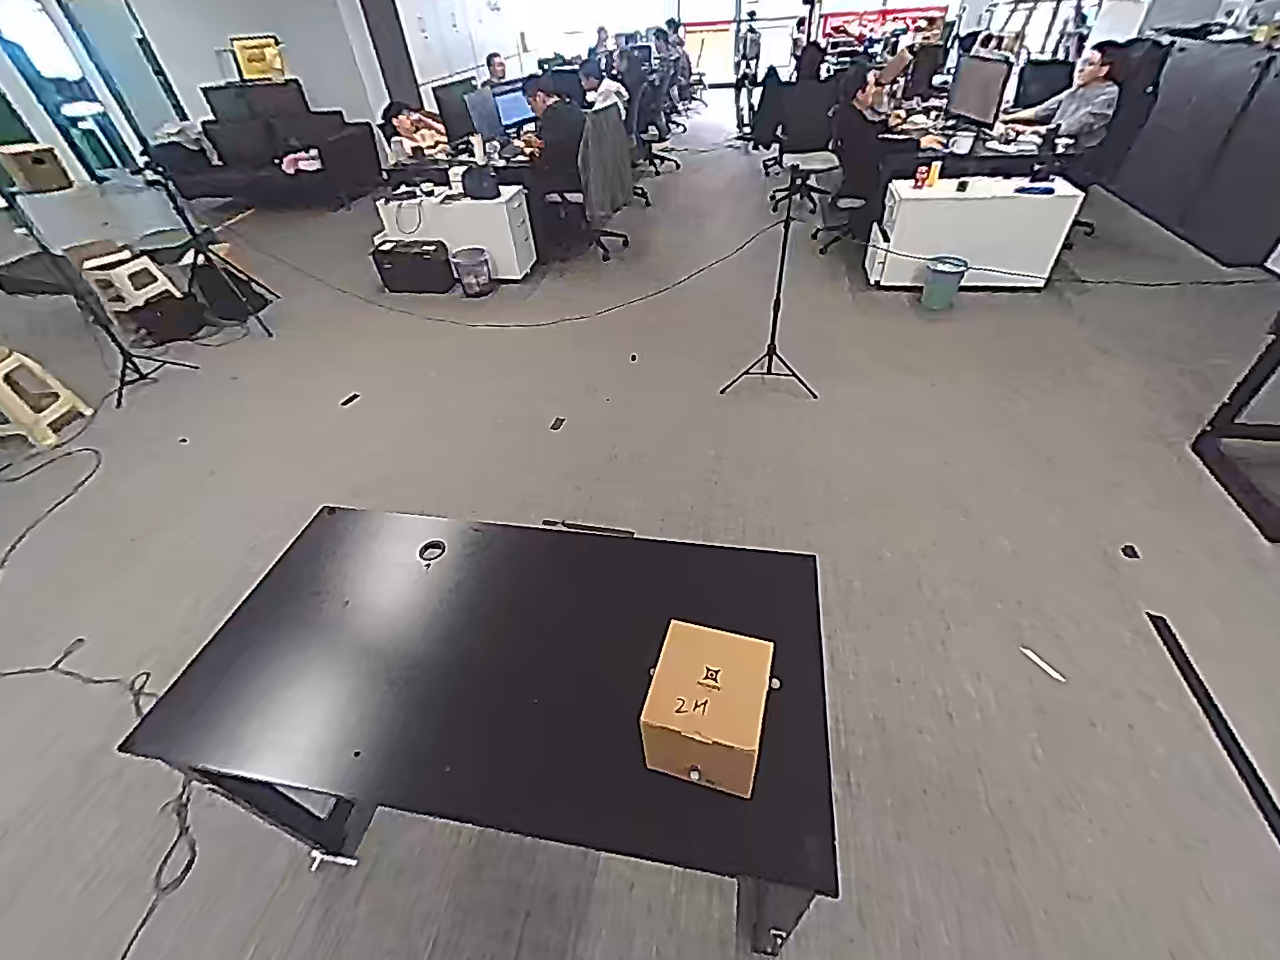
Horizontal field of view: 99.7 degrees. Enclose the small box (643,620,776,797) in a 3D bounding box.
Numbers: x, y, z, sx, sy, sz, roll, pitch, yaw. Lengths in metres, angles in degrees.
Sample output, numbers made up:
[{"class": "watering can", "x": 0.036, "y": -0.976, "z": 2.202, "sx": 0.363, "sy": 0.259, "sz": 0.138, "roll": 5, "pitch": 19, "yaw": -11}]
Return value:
[{"class": "small box", "x": 0.110, "y": 0.353, "z": 0.843, "sx": 0.168, "sy": 0.176, "sz": 0.179, "roll": 9, "pitch": 44, "yaw": 16}]
